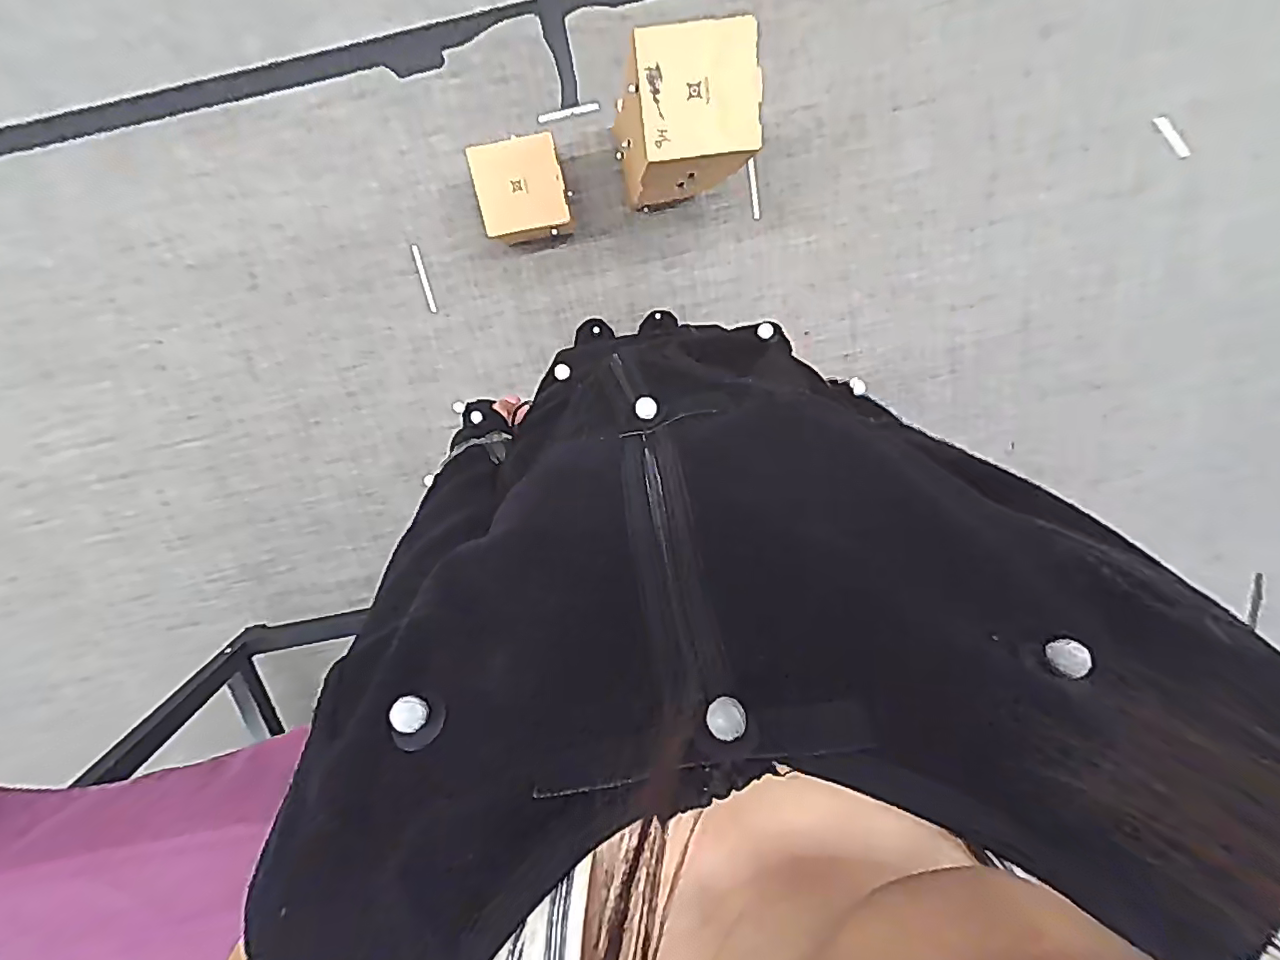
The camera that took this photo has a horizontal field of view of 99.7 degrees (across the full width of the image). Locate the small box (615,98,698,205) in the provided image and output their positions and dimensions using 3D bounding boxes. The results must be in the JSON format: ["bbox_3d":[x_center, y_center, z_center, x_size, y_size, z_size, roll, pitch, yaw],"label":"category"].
[{"bbox_3d":[0.045,-0.699,1.149,0.168,0.176,0.179,-13,108,-1],"label":"small box"}]

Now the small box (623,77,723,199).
[{"bbox_3d":[0.066,-0.632,0.999,0.179,0.176,0.168,-11,110,-2],"label":"small box"}]

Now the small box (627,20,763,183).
[{"bbox_3d":[0.080,-0.578,0.845,0.179,0.176,0.168,-8,109,-3],"label":"small box"}]

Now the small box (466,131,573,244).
[{"bbox_3d":[-0.247,-0.614,1.154,0.179,0.176,0.168,-12,109,-1],"label":"small box"}]
